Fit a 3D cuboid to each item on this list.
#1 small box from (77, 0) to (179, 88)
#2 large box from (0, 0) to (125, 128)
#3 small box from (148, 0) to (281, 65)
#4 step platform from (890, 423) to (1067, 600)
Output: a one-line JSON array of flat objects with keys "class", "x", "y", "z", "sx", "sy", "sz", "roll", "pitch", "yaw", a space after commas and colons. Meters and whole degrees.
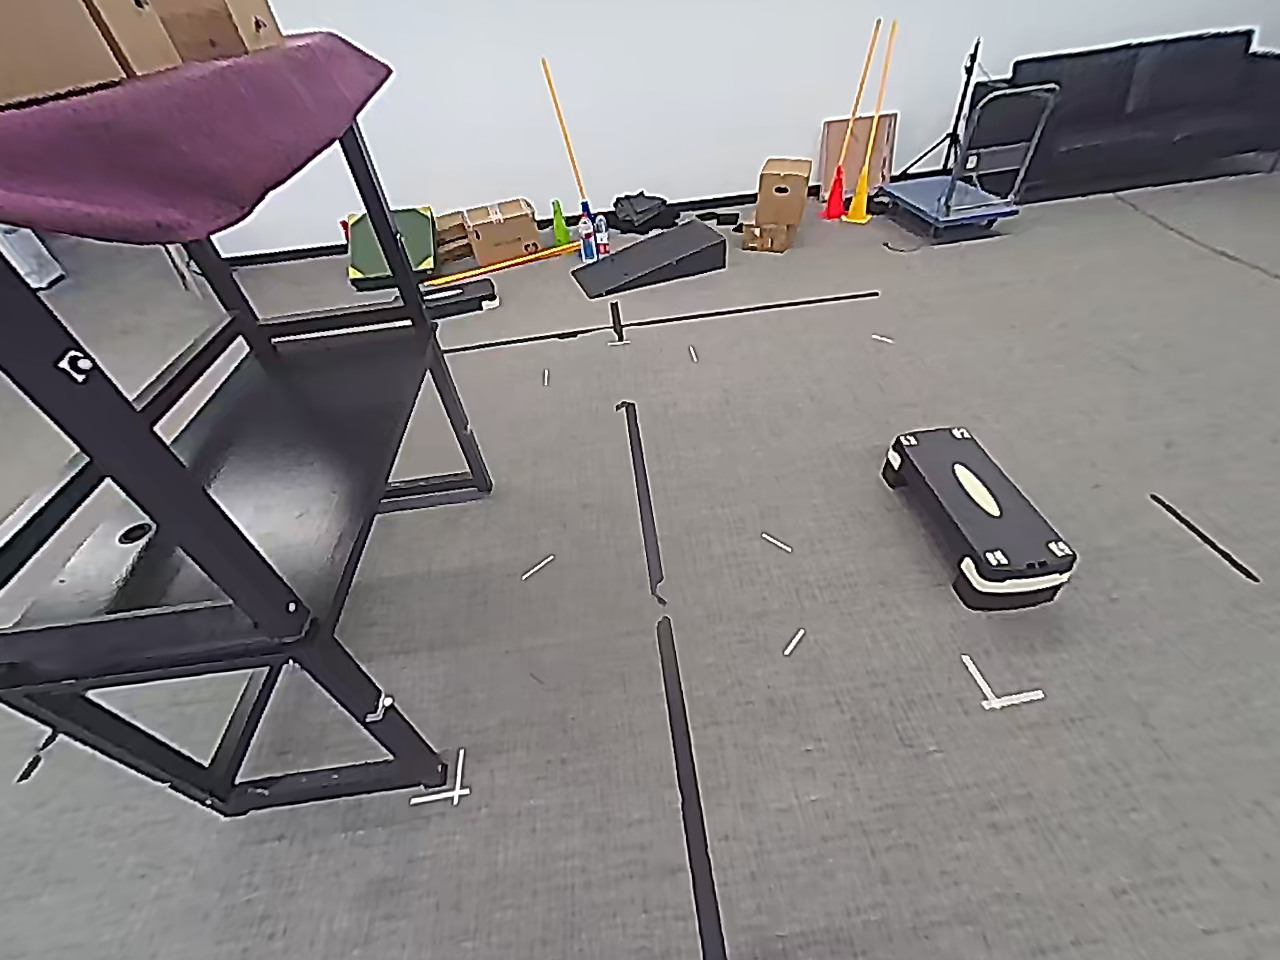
[{"class": "small box", "x": -0.874, "y": -0.714, "z": 0.836, "sx": 0.168, "sy": 0.176, "sz": 0.179, "roll": -12, "pitch": 43, "yaw": -4}, {"class": "large box", "x": -0.847, "y": -0.504, "z": 0.507, "sx": 0.320, "sy": 0.320, "sz": 0.408, "roll": -8, "pitch": 43, "yaw": -1}, {"class": "small box", "x": -0.869, "y": -0.954, "z": 1.089, "sx": 0.168, "sy": 0.176, "sz": 0.179, "roll": -6, "pitch": 43, "yaw": 2}, {"class": "step platform", "x": 1.123, "y": 0.073, "z": 1.863, "sx": 0.286, "sy": 0.204, "sz": 0.684, "roll": -4, "pitch": 42, "yaw": 3}]
